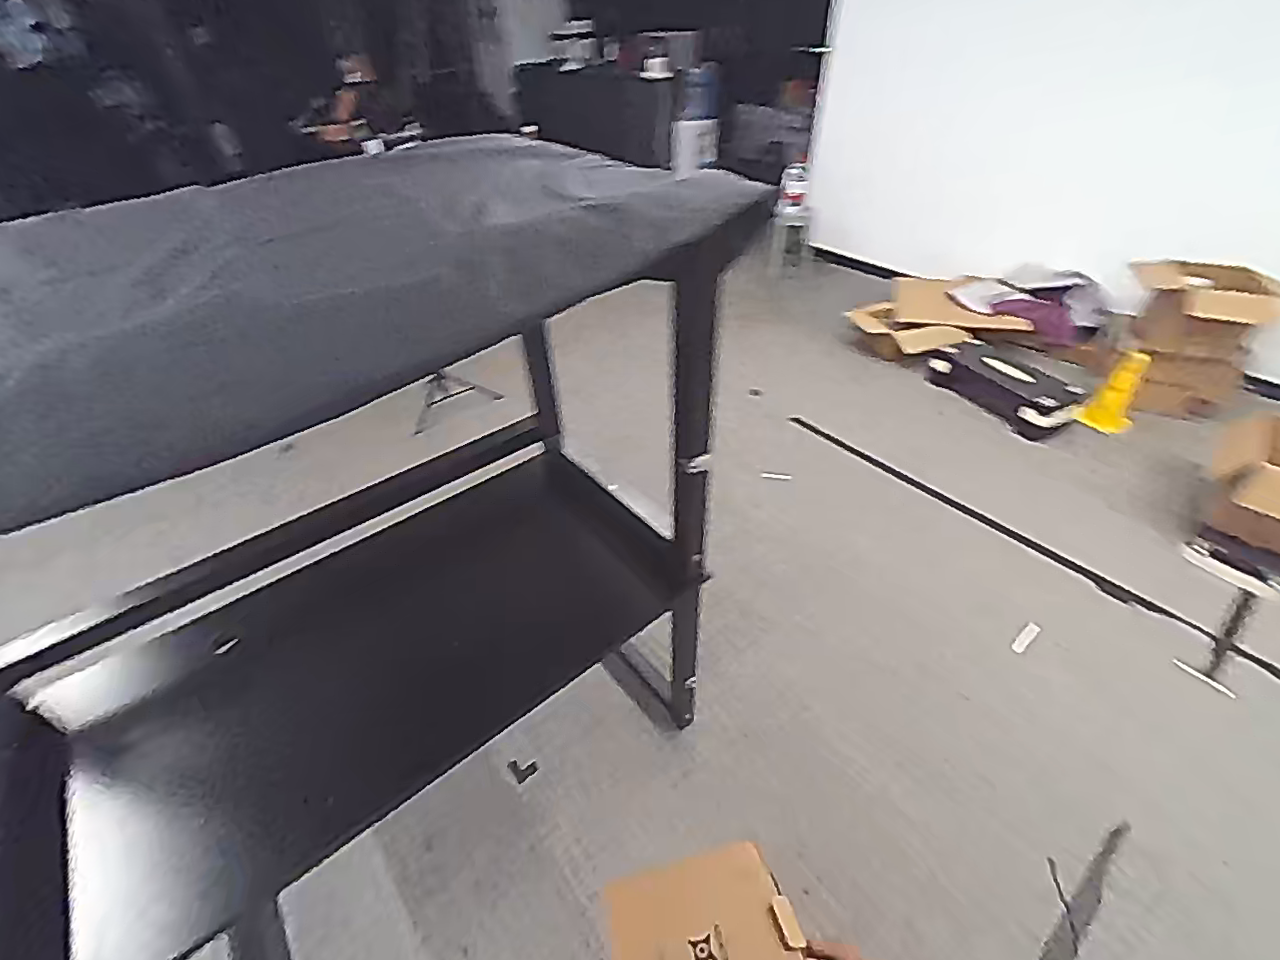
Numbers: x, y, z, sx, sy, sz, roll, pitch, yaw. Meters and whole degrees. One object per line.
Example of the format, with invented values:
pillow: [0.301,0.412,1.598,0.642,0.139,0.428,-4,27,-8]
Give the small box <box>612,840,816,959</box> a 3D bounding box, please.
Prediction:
small box: [0.075,0.507,0.539,0.179,0.176,0.168,-9,26,-8]
